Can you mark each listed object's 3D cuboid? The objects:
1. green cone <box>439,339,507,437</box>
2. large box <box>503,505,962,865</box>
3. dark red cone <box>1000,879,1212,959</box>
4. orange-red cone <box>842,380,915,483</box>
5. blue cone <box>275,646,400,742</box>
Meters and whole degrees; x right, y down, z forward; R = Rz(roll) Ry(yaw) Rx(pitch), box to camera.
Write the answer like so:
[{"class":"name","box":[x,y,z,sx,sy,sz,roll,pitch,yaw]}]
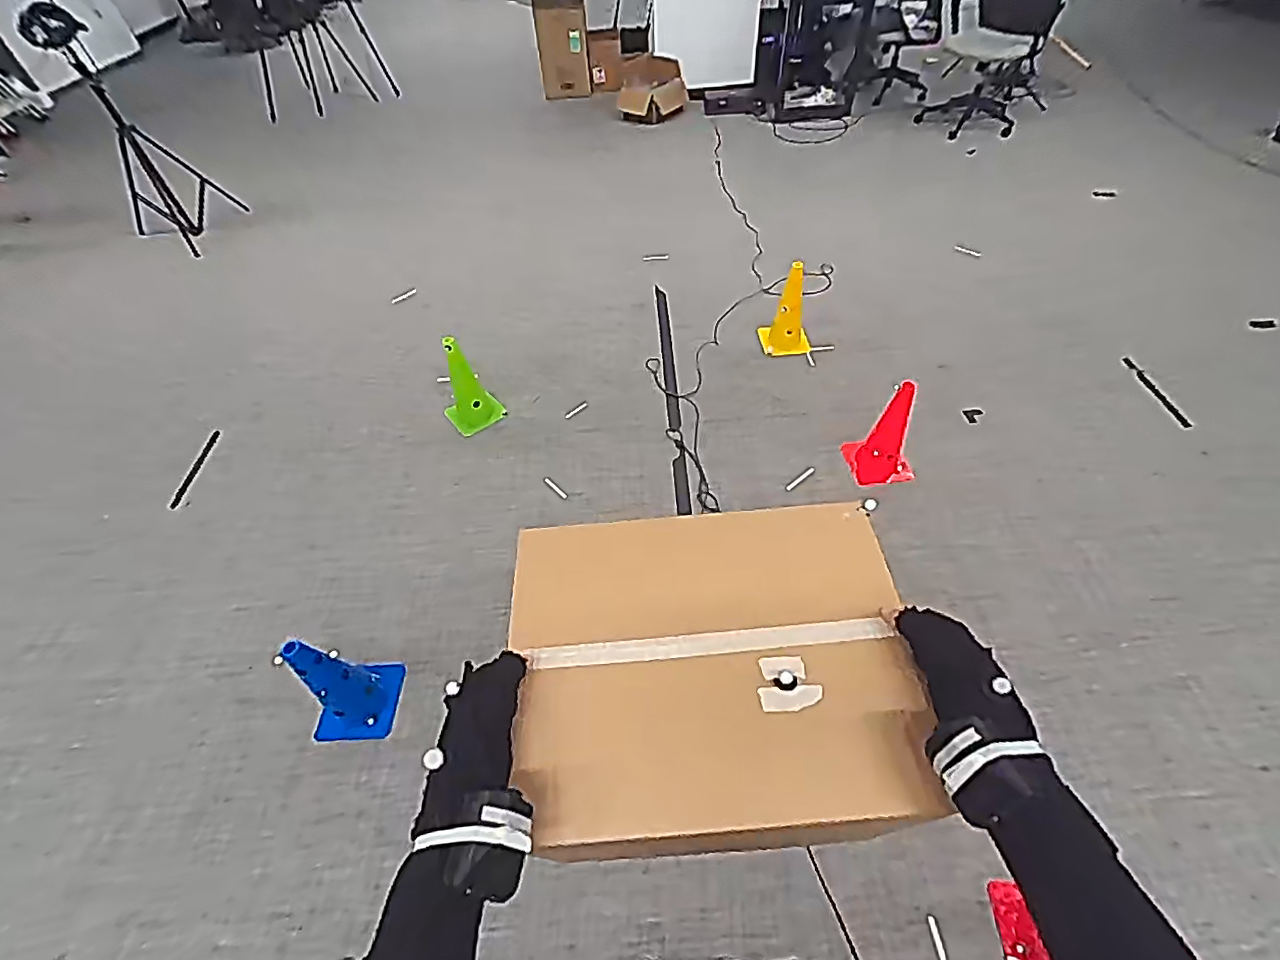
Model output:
[{"class":"green cone","box":[-0.676,-0.378,2.051,0.202,0.368,0.200,-36,56,-21]},{"class":"large box","box":[0.074,0.259,0.665,0.408,0.320,0.320,-5,53,0]},{"class":"dark red cone","box":[0.817,0.802,0.927,0.201,0.394,0.202,-1,50,5]},{"class":"orange-red cone","box":[0.824,-0.181,1.779,0.198,0.360,0.199,-6,49,-2]},{"class":"blue cone","box":[-0.772,0.503,1.346,0.192,0.380,0.193,-3,50,4]}]
